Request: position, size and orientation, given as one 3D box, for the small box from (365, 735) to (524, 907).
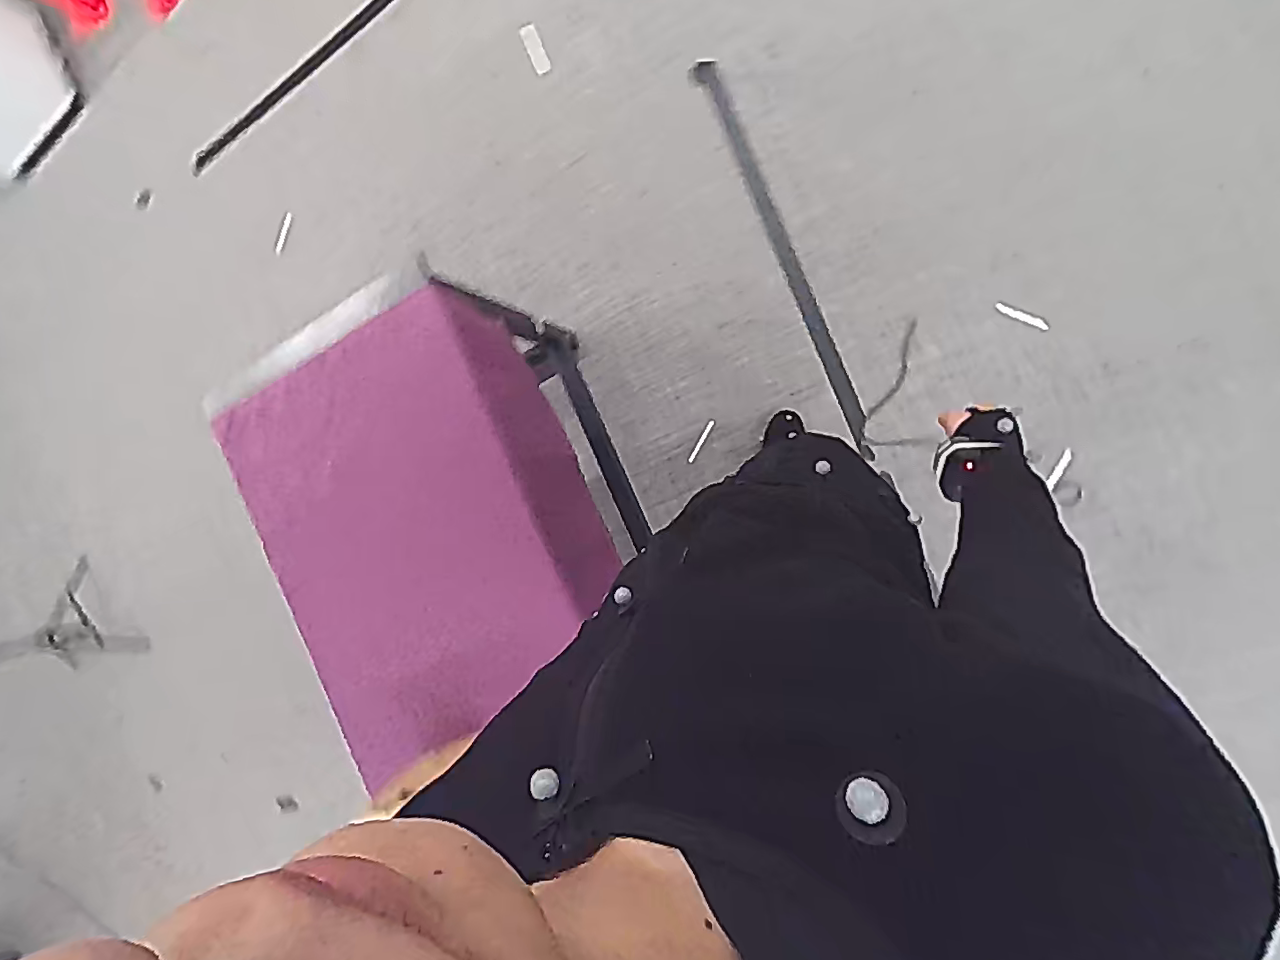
[{"bbox_3d":[-0.335,0.594,0.958,0.168,0.176,0.179,-28,88,16],"label":"small box"}]
